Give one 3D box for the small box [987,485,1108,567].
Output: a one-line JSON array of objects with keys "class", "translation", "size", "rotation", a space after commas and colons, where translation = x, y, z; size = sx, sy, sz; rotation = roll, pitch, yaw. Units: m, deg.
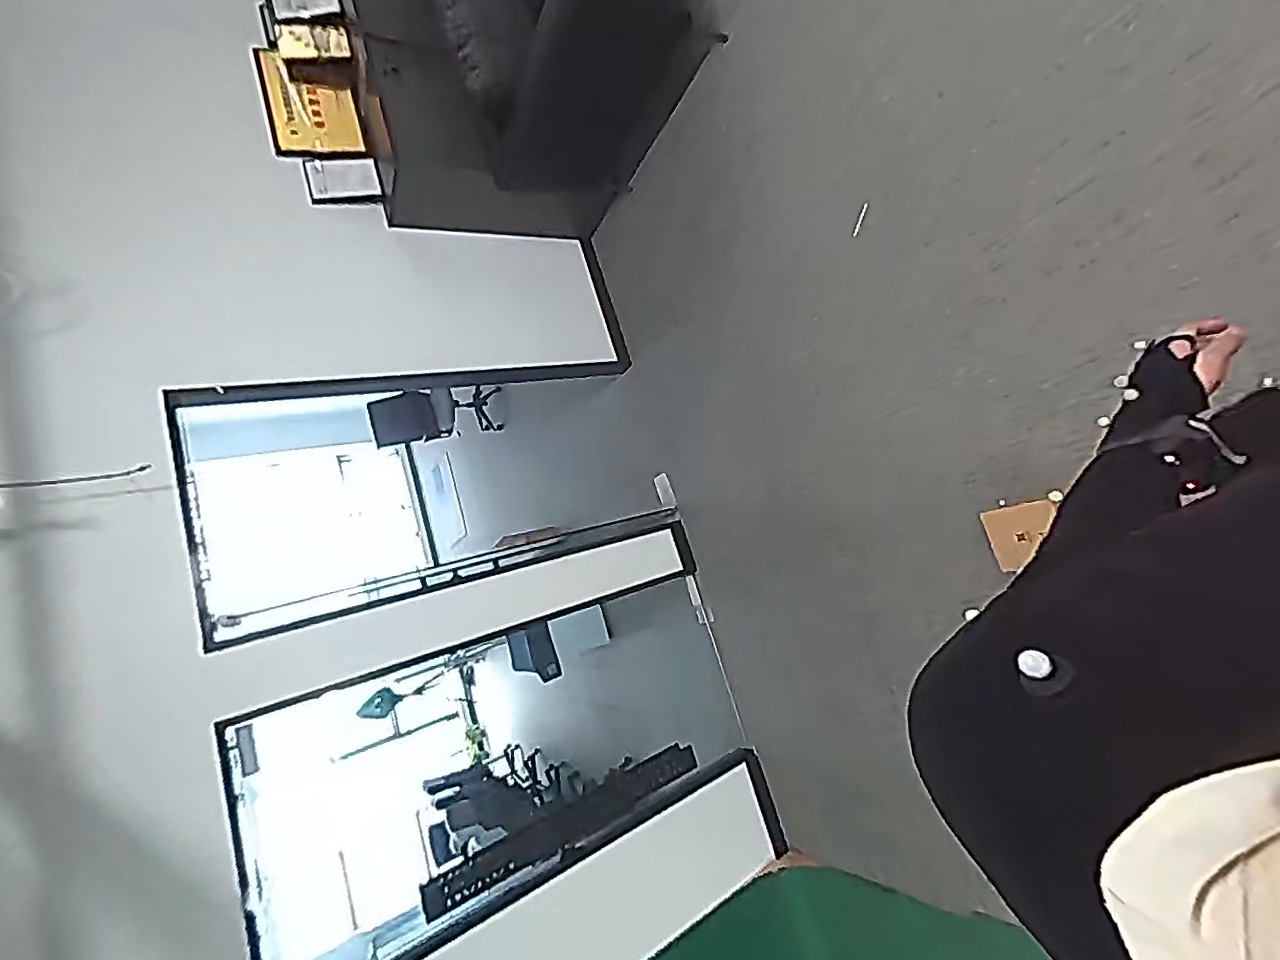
[{"class": "small box", "translation": [1.058, 0.120, 1.407], "size": [0.179, 0.176, 0.168], "rotation": [-29, 75, 58]}]
